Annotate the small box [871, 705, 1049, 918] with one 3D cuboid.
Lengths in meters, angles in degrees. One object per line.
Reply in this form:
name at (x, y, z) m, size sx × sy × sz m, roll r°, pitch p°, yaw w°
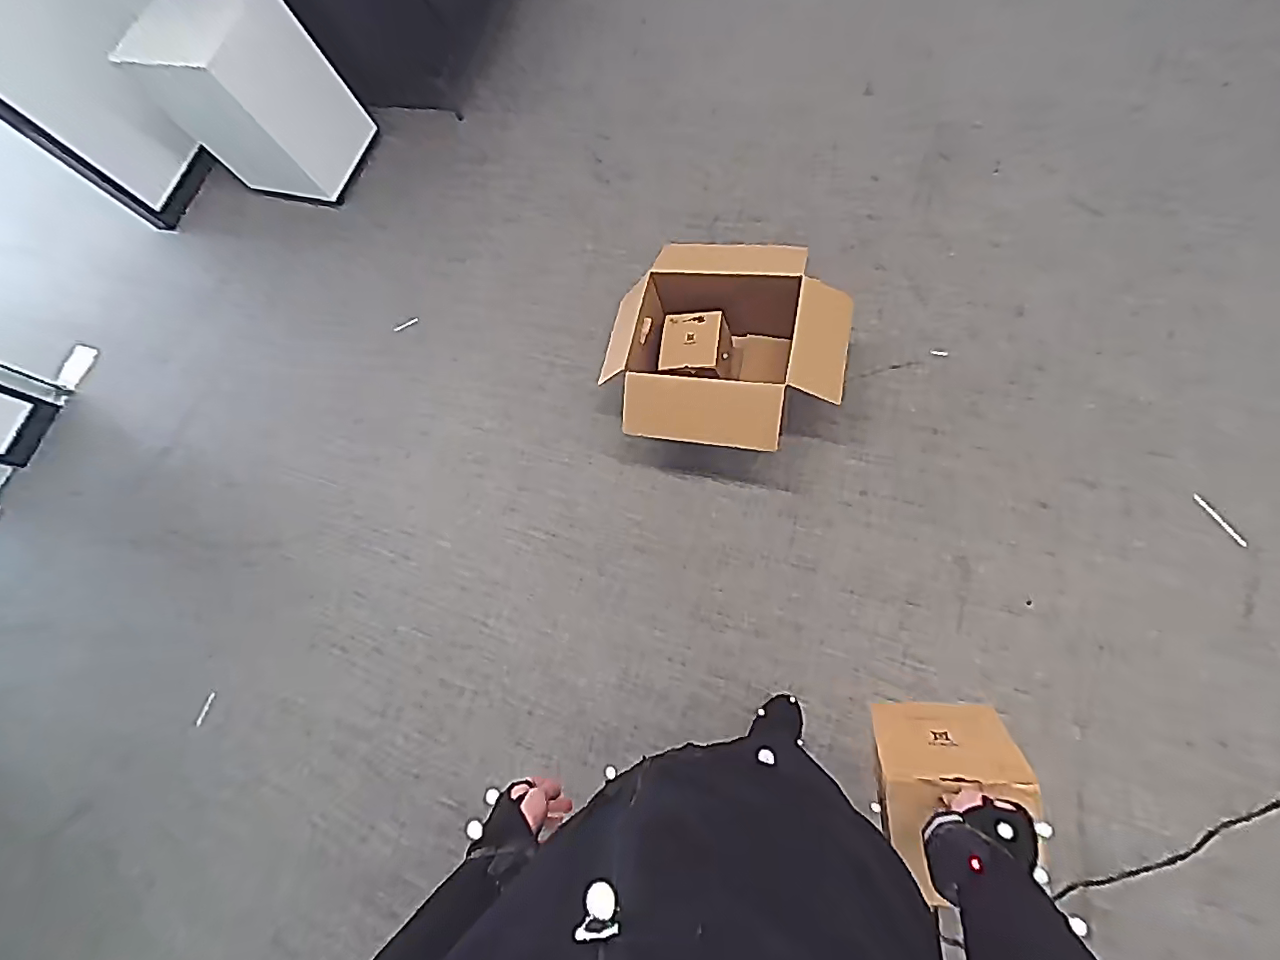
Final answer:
small box at (0.404, 0.417, 0.705) m, size 0.168 × 0.179 × 0.176 m, roll -5°, pitch 93°, yaw 18°
